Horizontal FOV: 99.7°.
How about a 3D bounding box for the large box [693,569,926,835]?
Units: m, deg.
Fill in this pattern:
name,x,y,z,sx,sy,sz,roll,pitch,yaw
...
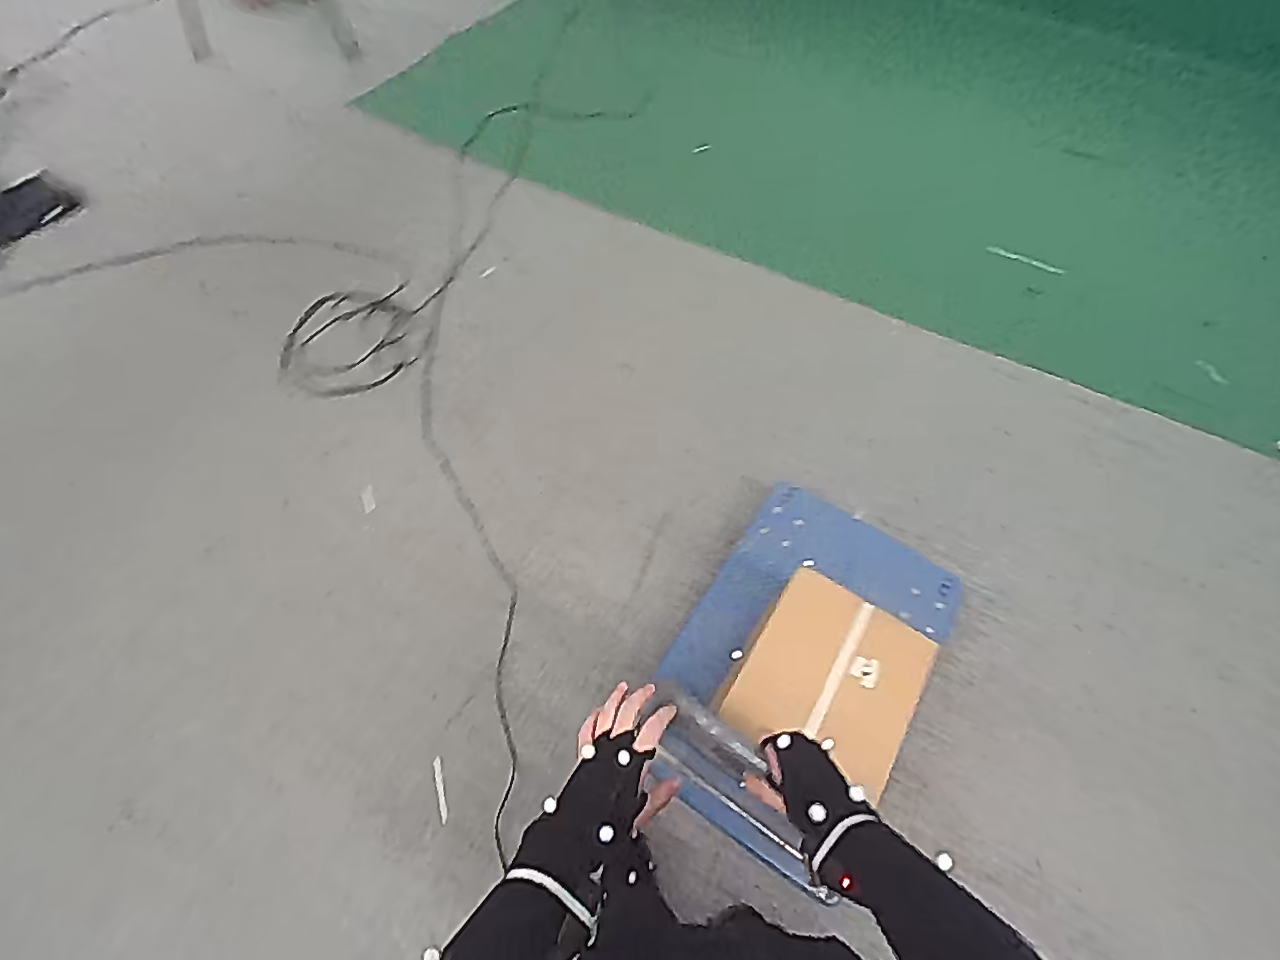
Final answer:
name,x,y,z,sx,sy,sz,roll,pitch,yaw
large box,0.354,0.484,1.190,0.320,0.320,0.408,31,63,14
